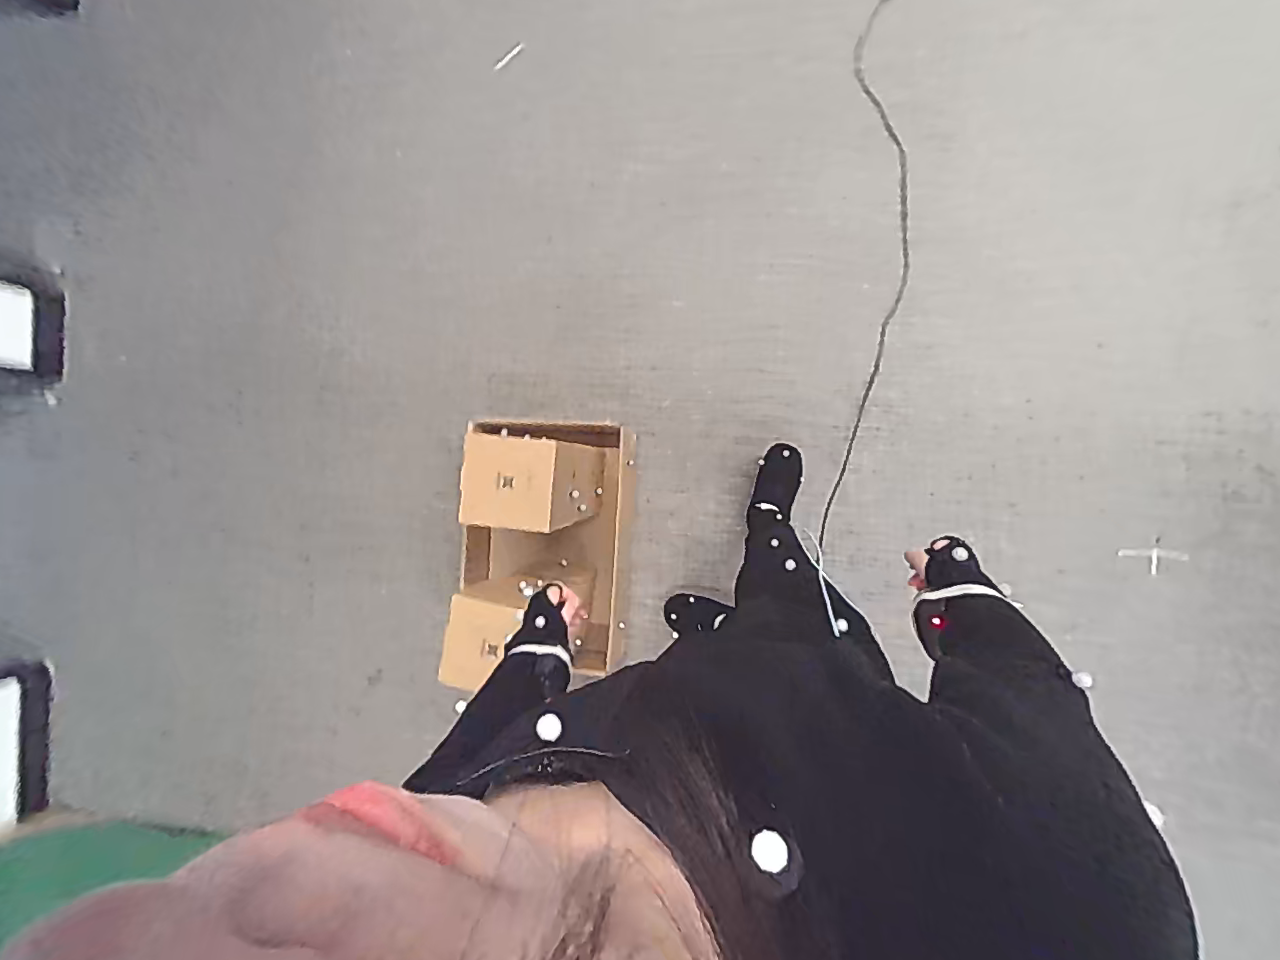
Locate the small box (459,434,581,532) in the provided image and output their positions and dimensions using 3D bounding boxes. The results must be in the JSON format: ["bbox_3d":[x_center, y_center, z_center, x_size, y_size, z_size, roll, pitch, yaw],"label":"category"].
[{"bbox_3d":[-0.227,0.005,1.055,0.179,0.176,0.168,5,92,9],"label":"small box"}]

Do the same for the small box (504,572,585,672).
[{"bbox_3d":[-0.234,0.310,1.219,0.179,0.176,0.168,9,90,10],"label":"small box"}]

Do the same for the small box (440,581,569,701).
[{"bbox_3d":[-0.256,0.302,1.055,0.179,0.176,0.168,10,92,10],"label":"small box"}]
